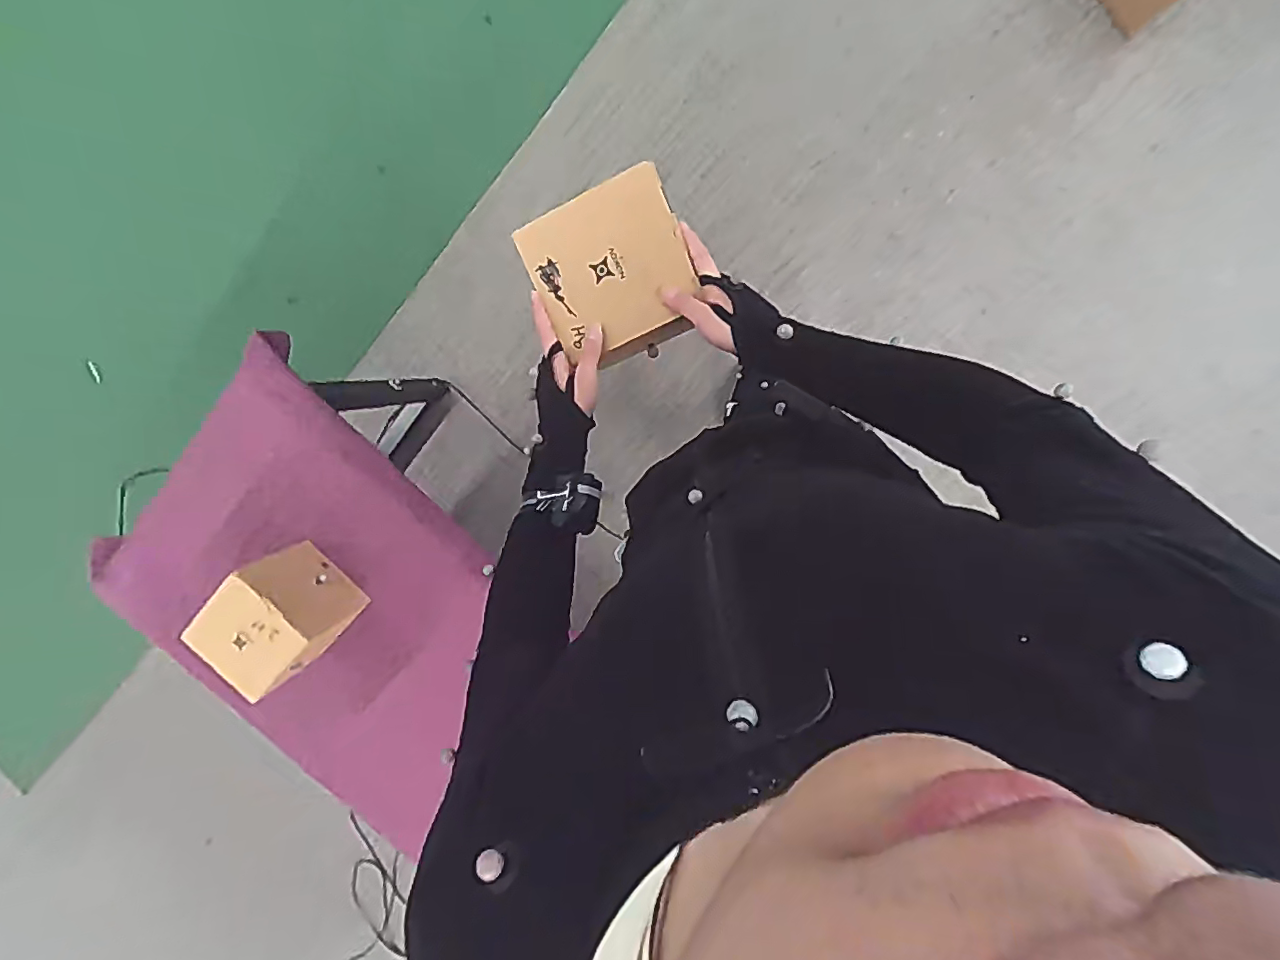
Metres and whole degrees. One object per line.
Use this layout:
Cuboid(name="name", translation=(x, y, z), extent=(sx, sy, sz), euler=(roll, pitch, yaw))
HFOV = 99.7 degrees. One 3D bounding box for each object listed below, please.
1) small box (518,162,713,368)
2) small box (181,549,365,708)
Cuboid(name="small box", translation=(-0.021, -0.249, 0.674), extent=(0.179, 0.176, 0.168), euler=(-22, 96, 10))
Cuboid(name="small box", translation=(-0.634, 0.252, 0.956), extent=(0.168, 0.176, 0.179), euler=(45, 103, -3))
